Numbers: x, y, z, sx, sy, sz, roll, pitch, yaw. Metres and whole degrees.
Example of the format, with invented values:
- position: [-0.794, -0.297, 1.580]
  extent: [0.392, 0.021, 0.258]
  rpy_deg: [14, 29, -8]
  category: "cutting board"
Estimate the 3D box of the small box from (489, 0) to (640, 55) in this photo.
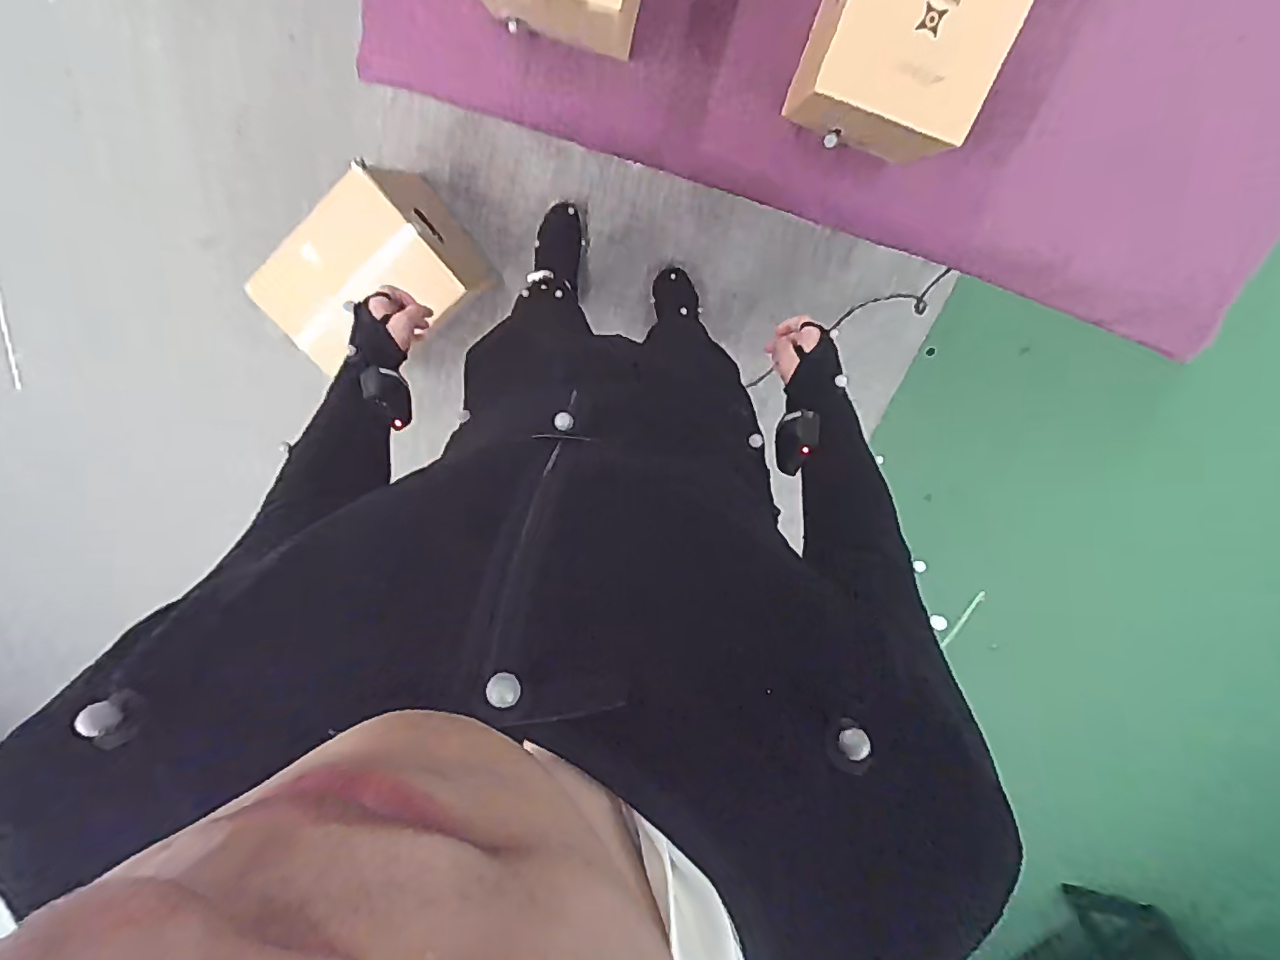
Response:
- position: [-0.073, -0.558, 0.528]
  extent: [0.168, 0.176, 0.179]
  rpy_deg: [15, 115, -6]
  category: "small box"

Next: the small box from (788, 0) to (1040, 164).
- position: [0.274, -0.460, 0.569]
  extent: [0.168, 0.176, 0.179]
  rpy_deg: [18, 115, -6]
  category: "small box"

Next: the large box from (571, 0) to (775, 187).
- position: [0.068, -0.869, 1.111]
  extent: [0.320, 0.320, 0.408]
  rpy_deg: [16, 115, -7]
  category: "large box"
